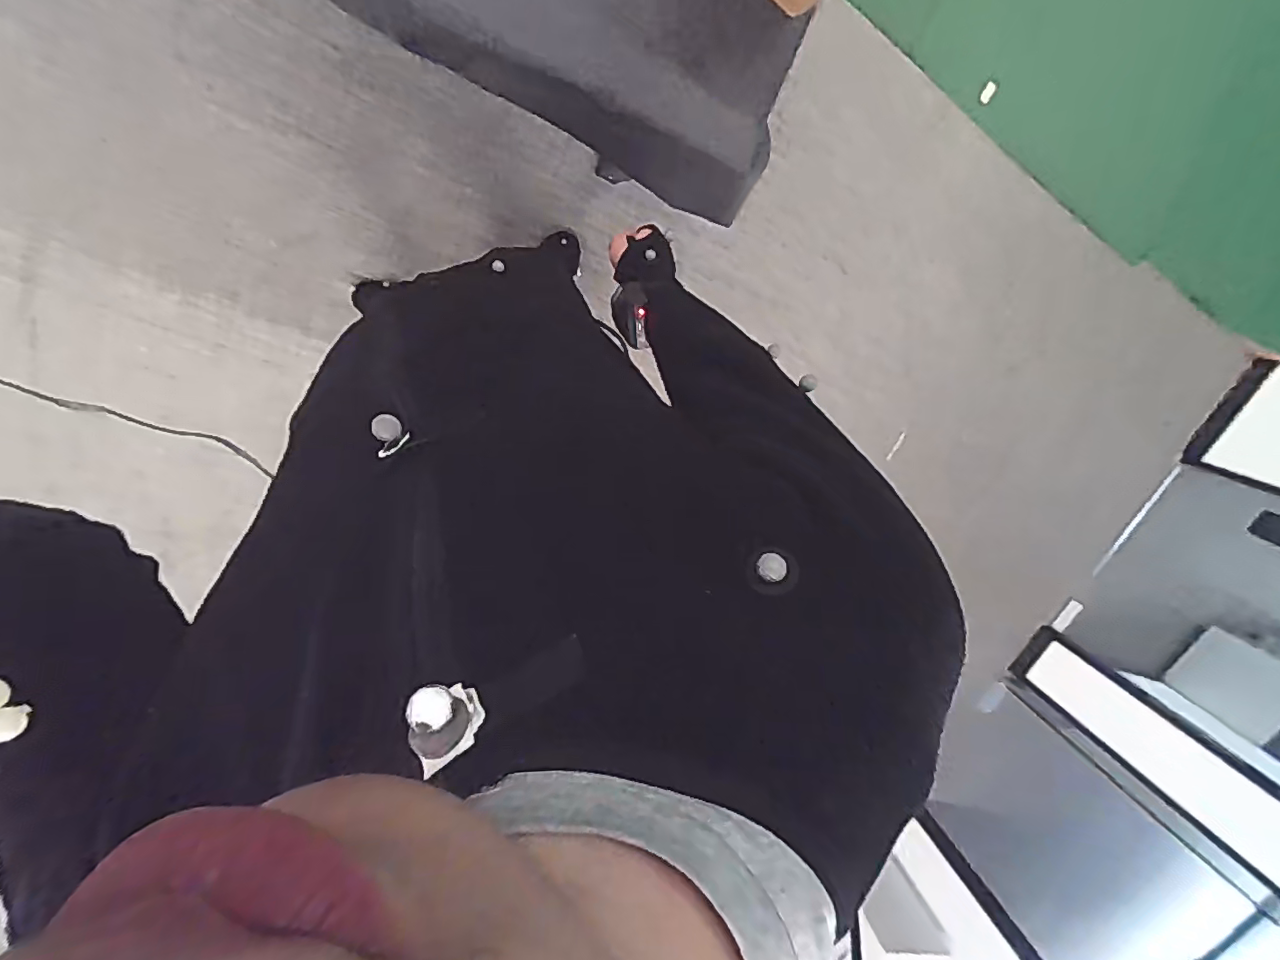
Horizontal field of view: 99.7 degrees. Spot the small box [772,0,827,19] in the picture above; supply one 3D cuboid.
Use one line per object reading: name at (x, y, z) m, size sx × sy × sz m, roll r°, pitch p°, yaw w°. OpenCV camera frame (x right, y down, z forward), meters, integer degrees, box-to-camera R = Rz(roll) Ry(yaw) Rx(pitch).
small box at (0.182, -0.621, 0.540) m, size 0.168 × 0.176 × 0.179 m, roll 21°, pitch 108°, yaw -24°
